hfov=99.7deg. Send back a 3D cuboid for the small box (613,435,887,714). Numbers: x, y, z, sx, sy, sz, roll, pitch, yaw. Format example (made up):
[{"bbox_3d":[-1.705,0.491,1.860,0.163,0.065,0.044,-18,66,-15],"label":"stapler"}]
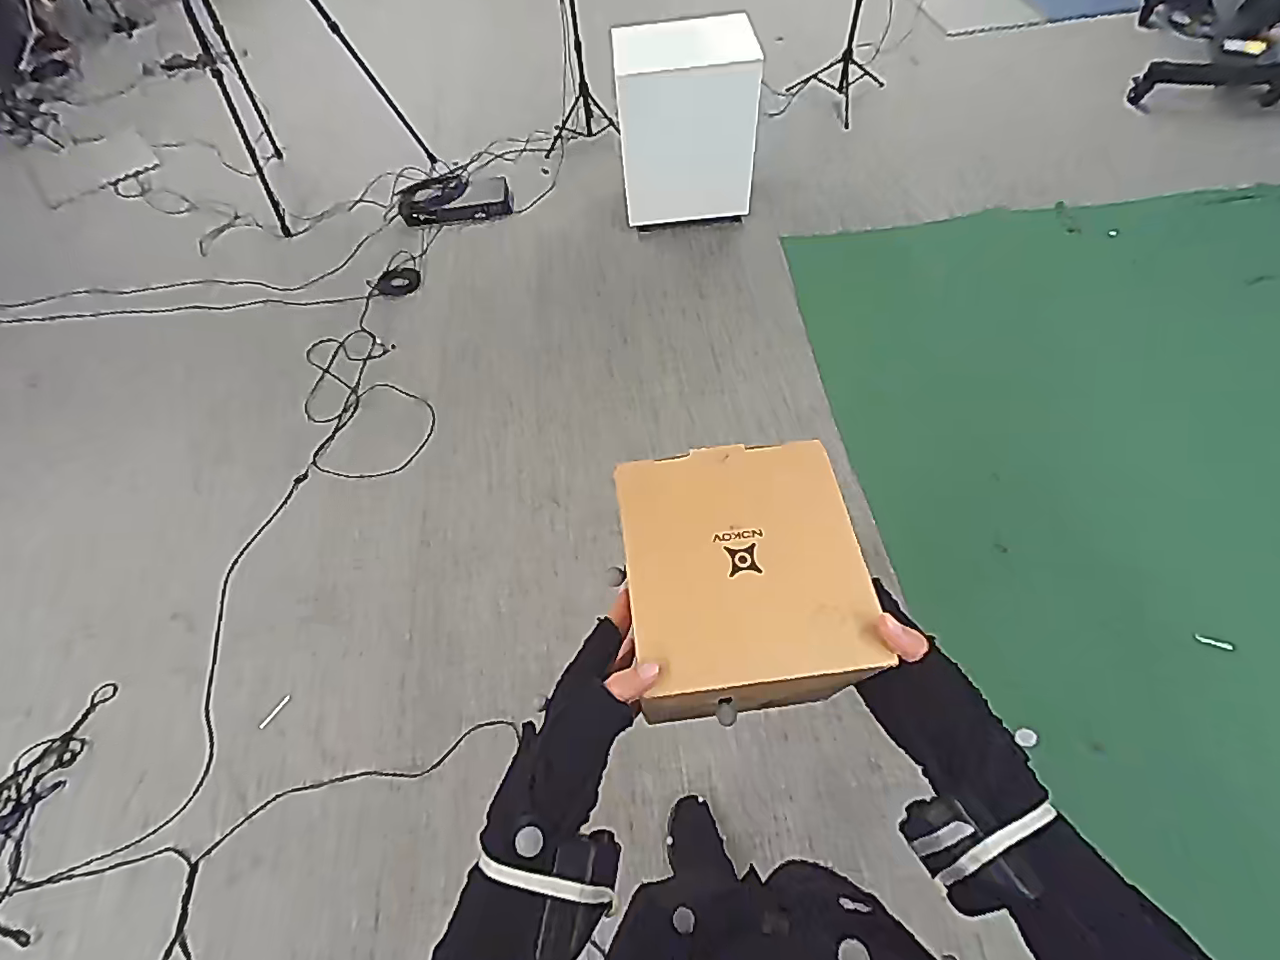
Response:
[{"bbox_3d":[0.073,0.089,0.452,0.168,0.176,0.179,-7,58,-2],"label":"small box"}]
